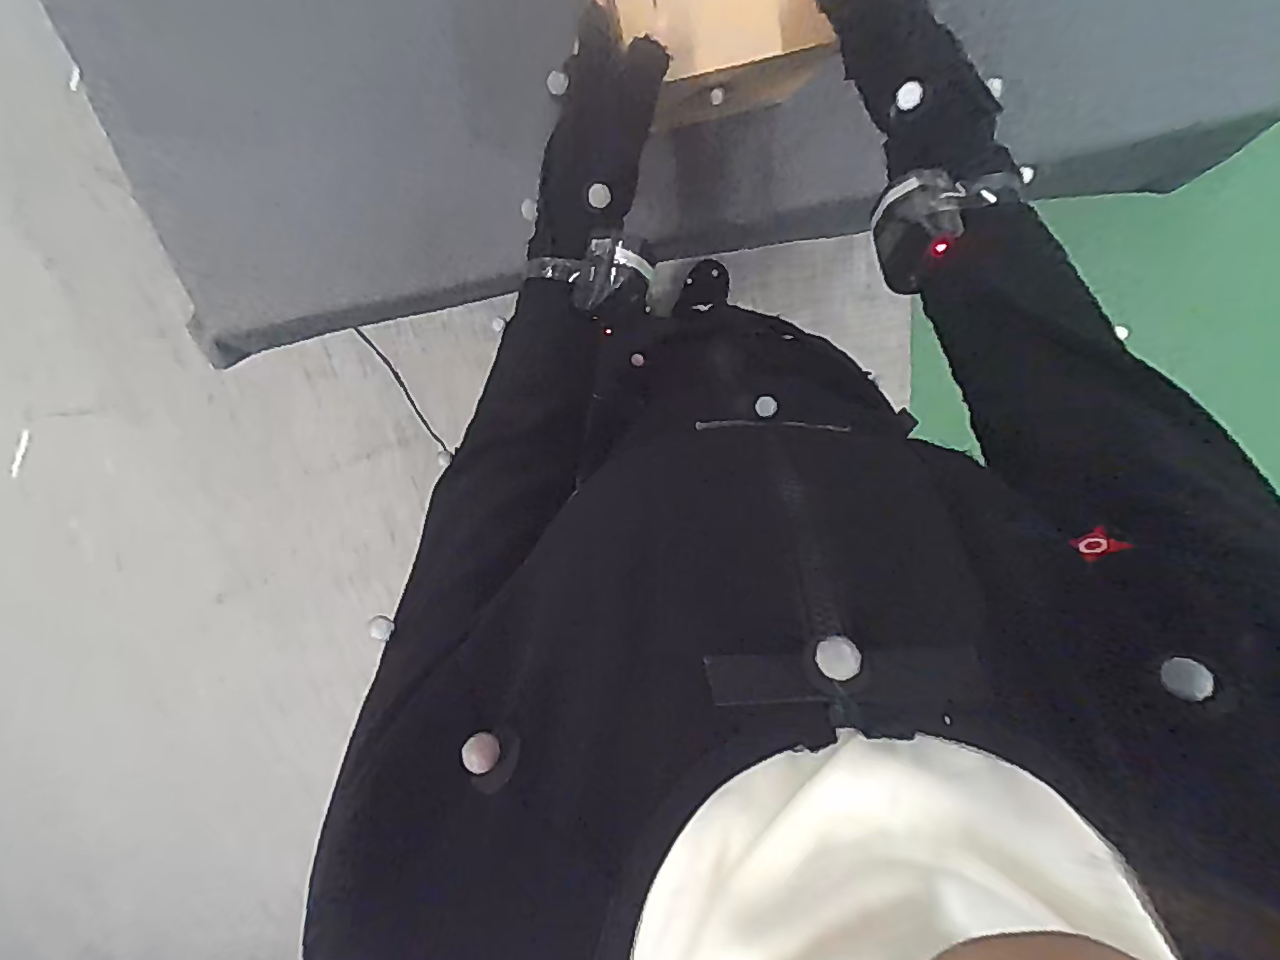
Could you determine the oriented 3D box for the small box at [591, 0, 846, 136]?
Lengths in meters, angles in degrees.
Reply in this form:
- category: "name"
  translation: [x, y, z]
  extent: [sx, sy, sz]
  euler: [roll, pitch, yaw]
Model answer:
- category: "small box"
  translation: [0.049, -0.410, 0.449]
  extent: [0.179, 0.176, 0.168]
  euler: [-13, 112, 0]
